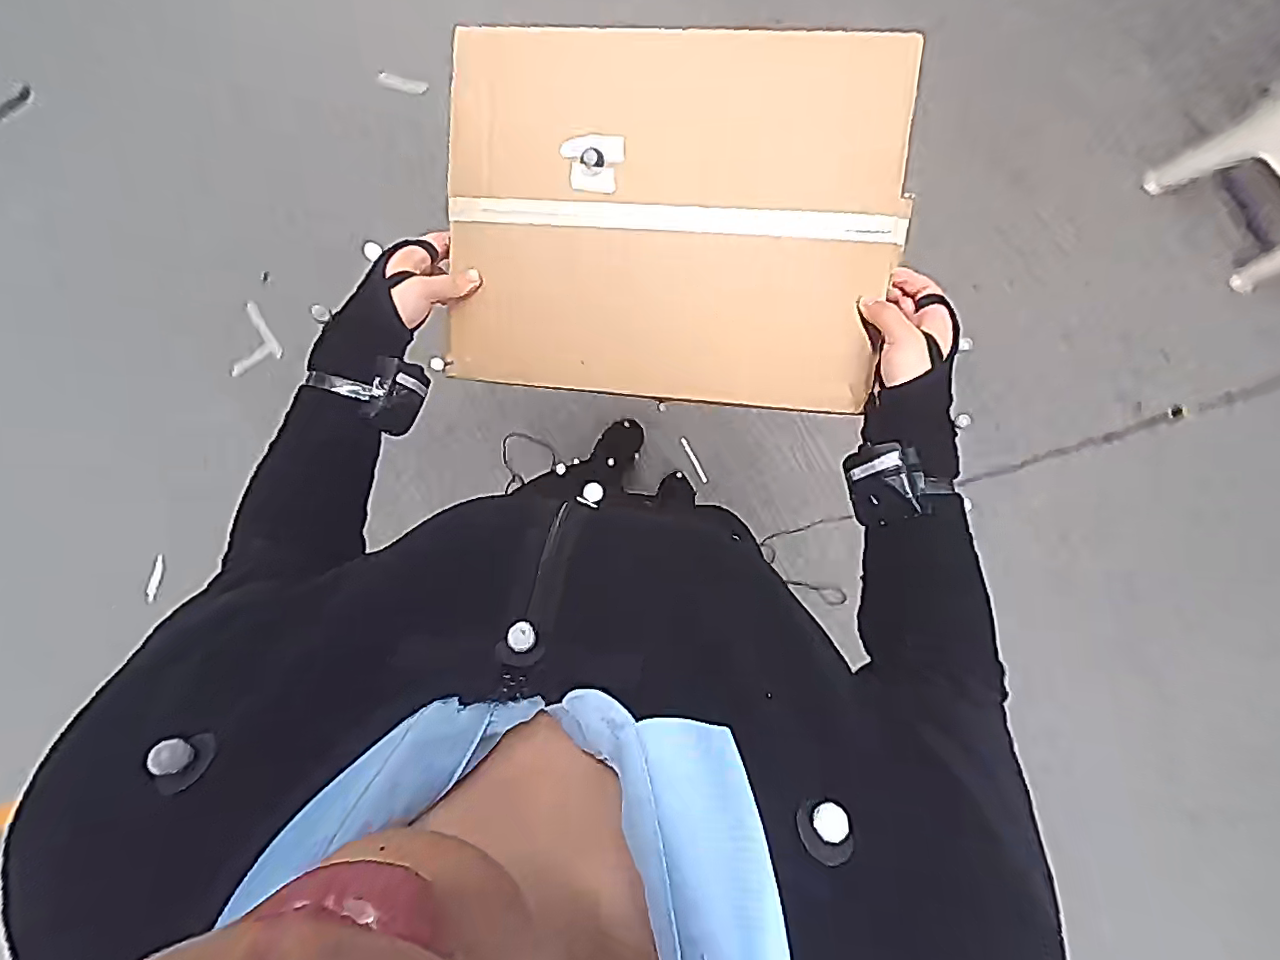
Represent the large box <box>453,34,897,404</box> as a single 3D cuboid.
[{"bbox_3d":[0.038,-0.256,0.646,0.408,0.320,0.320,5,98,8],"label":"large box"}]
